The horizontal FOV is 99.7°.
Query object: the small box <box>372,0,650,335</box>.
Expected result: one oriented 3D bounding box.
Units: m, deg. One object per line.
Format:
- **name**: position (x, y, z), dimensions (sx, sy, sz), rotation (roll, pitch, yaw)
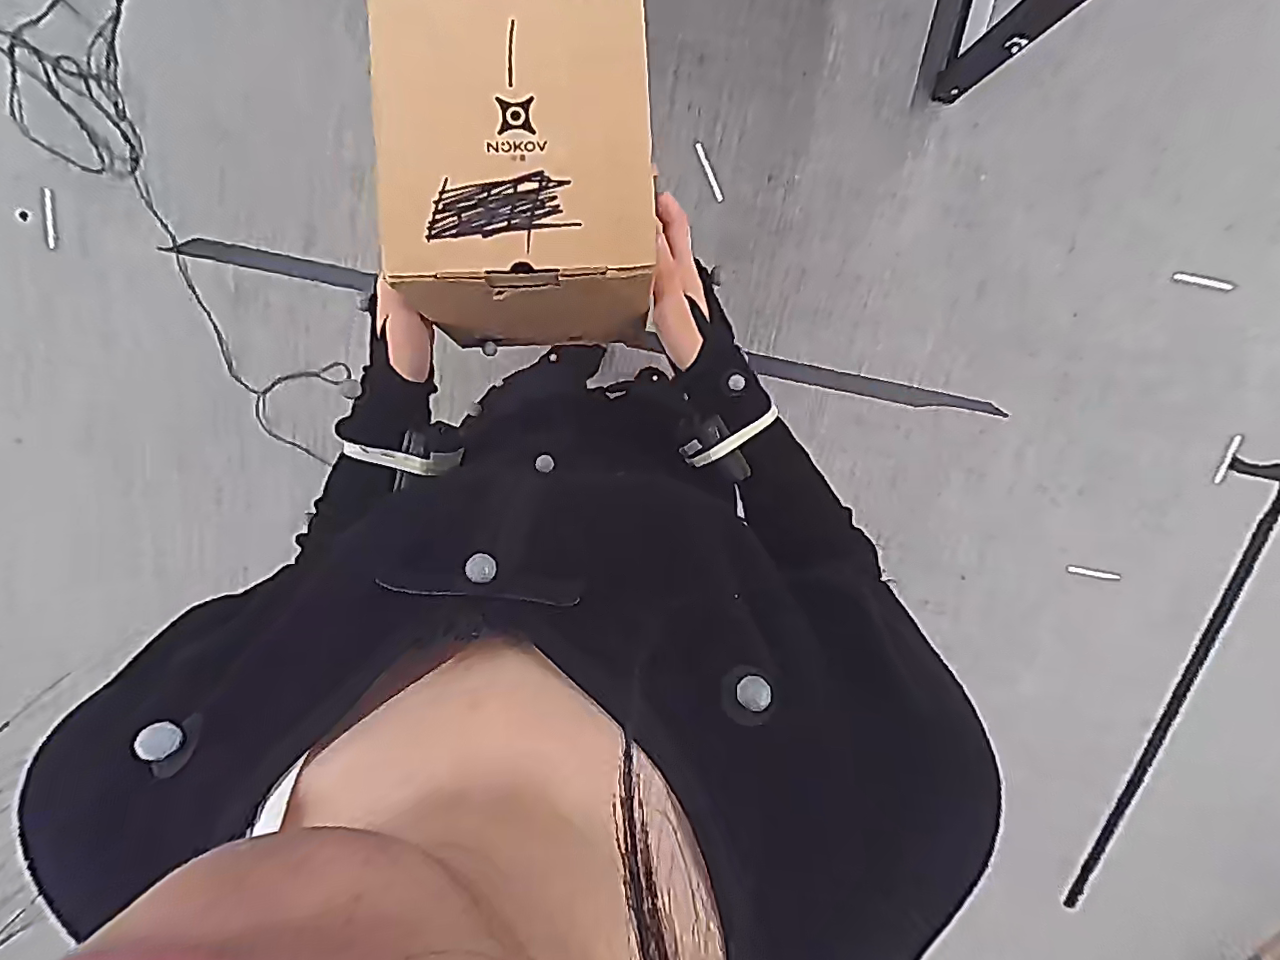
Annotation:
- **small box**: position (-0.079, -0.213, 0.406), dimensions (0.168, 0.176, 0.179), rotation (-3, 89, -3)
